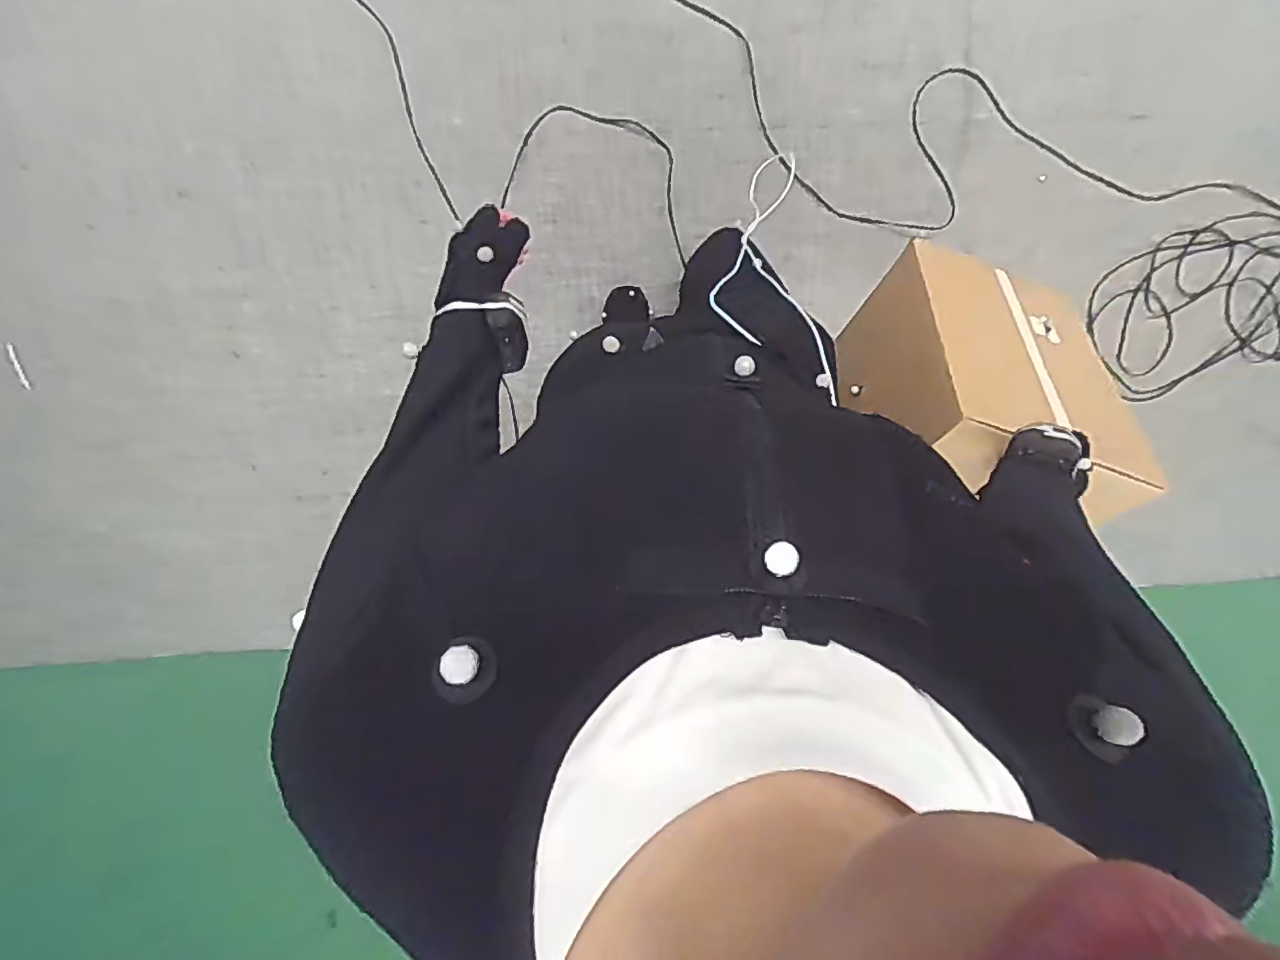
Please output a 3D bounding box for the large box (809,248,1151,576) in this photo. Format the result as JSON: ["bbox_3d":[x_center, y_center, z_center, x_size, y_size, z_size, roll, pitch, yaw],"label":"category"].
[{"bbox_3d":[0.508,-0.103,0.914,0.320,0.408,0.320,17,143,-10],"label":"large box"}]
